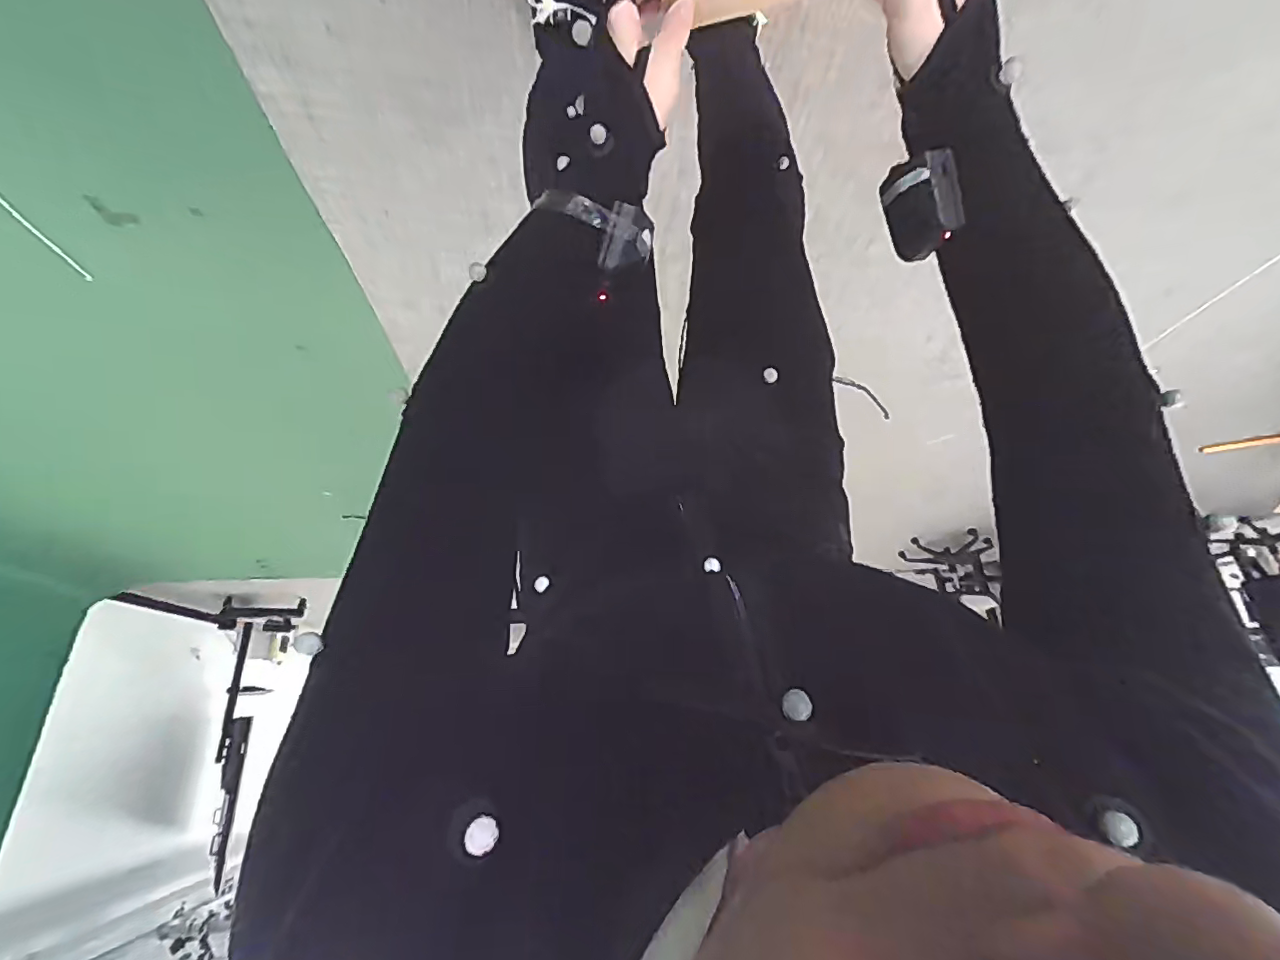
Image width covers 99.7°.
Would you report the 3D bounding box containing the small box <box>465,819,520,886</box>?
[{"bbox_3d":[-0.540,1.366,1.996,0.179,0.176,0.168,-1,158,-6],"label":"small box"}]
